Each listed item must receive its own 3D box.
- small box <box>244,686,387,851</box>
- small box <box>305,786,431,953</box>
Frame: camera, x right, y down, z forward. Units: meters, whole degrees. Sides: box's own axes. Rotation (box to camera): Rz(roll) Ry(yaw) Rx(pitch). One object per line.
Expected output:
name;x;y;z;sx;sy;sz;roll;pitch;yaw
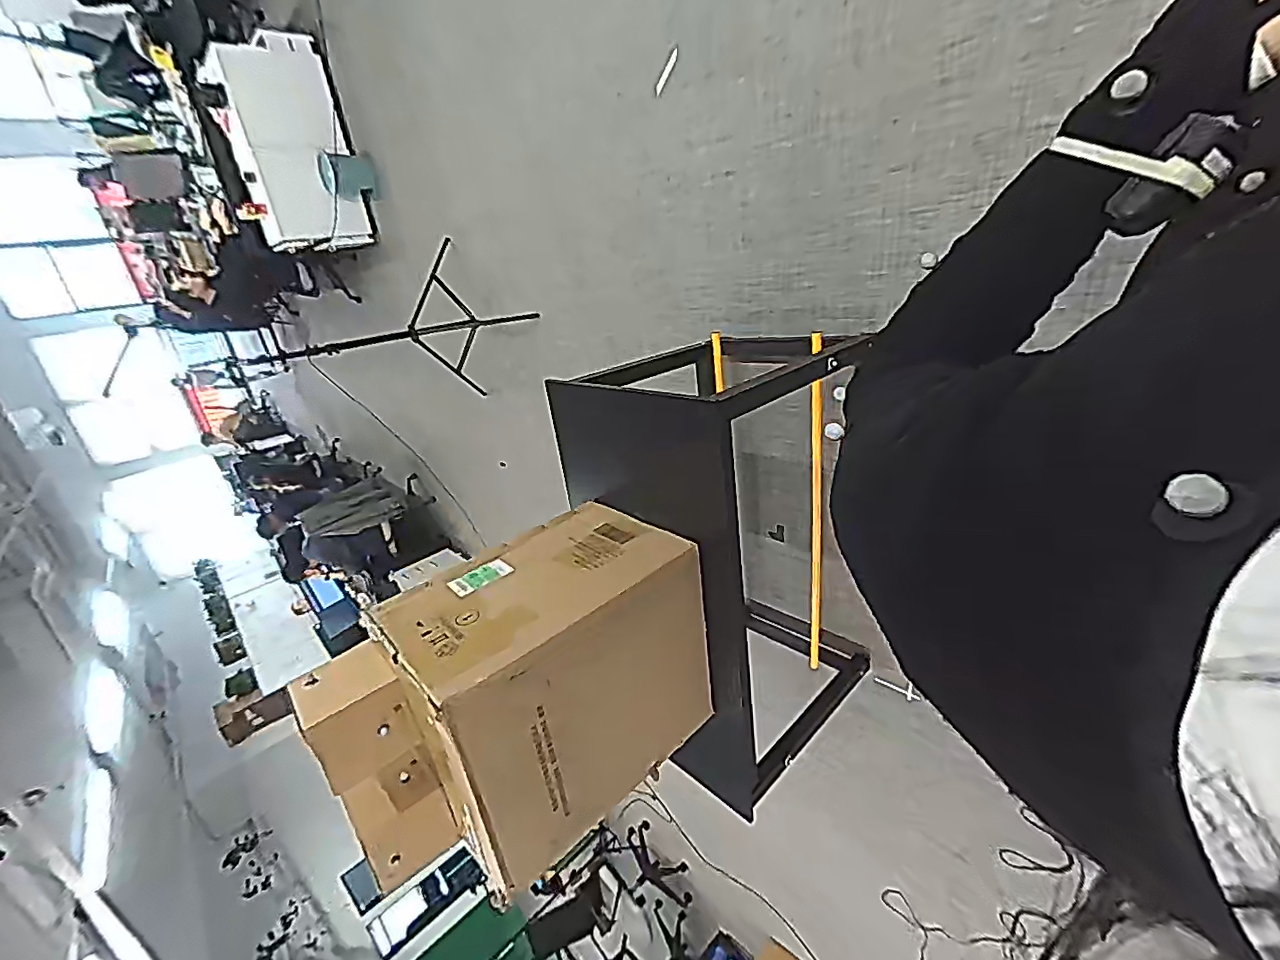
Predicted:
small box;-0.591;0.512;0.992;0.179;0.176;0.168;17;125;47
small box;-0.545;0.776;1.095;0.168;0.176;0.179;18;123;46
